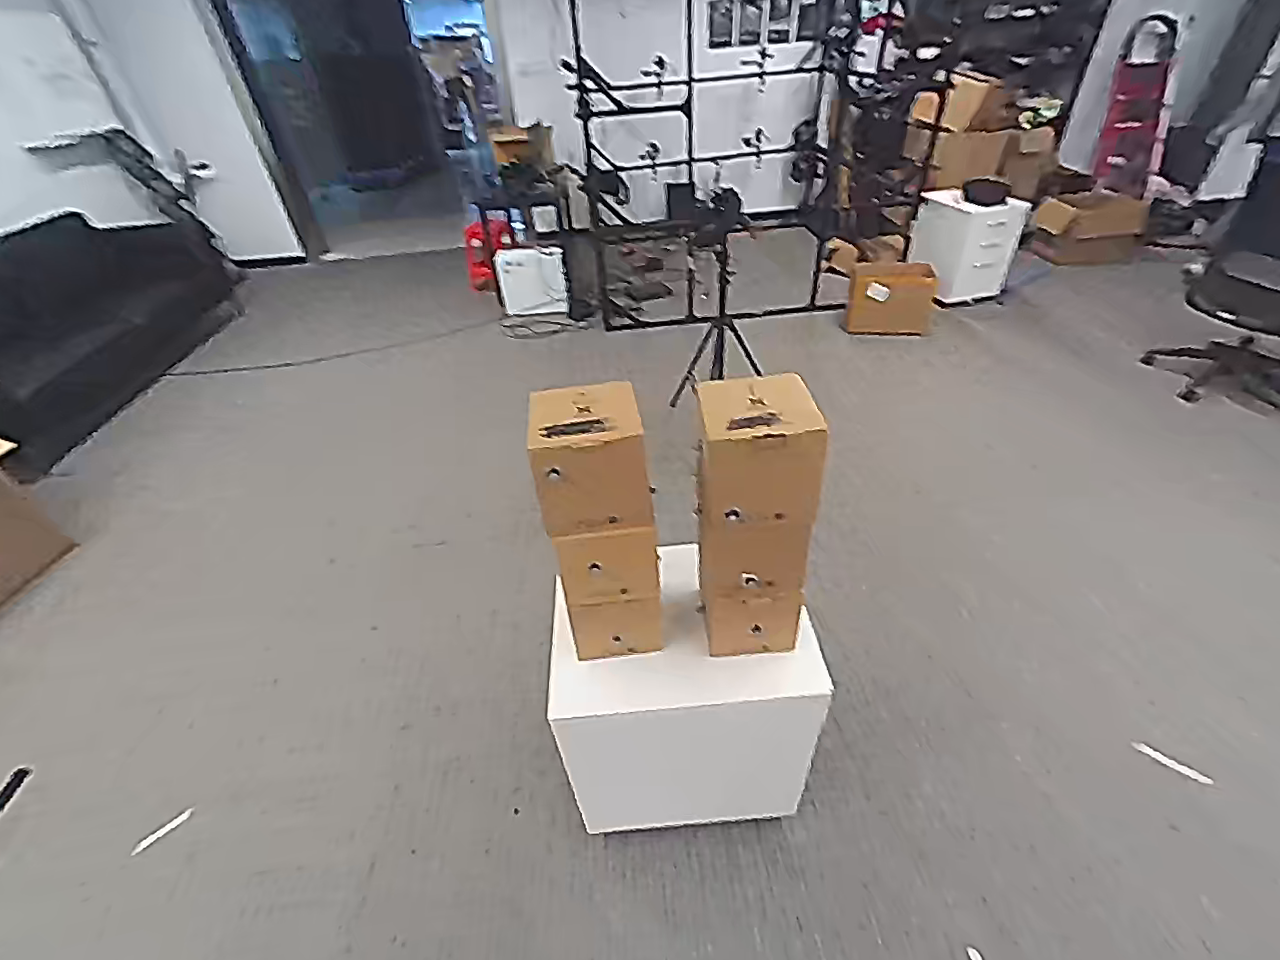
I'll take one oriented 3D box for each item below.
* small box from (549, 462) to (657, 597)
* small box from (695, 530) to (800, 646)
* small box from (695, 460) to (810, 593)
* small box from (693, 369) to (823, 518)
[{"bbox_3d":[-0.062,0.092,0.958,0.168,0.176,0.179,-6,38,-2],"label":"small box"},{"bbox_3d":[0.199,0.205,1.048,0.168,0.176,0.179,-5,40,0],"label":"small box"},{"bbox_3d":[0.187,0.074,0.953,0.168,0.176,0.179,-6,39,1],"label":"small box"},{"bbox_3d":[0.176,-0.052,0.848,0.168,0.176,0.179,-5,37,2],"label":"small box"}]
